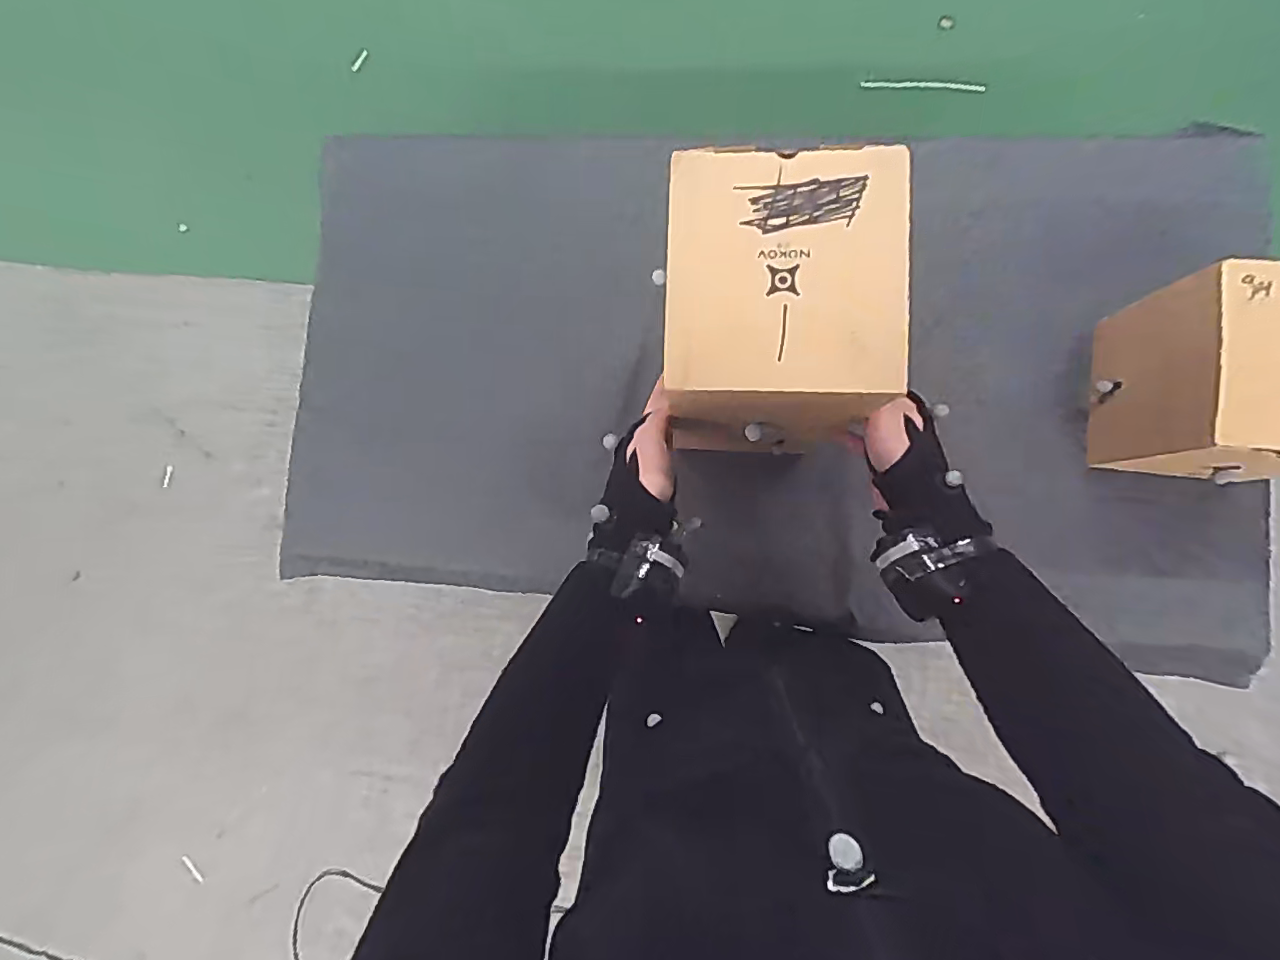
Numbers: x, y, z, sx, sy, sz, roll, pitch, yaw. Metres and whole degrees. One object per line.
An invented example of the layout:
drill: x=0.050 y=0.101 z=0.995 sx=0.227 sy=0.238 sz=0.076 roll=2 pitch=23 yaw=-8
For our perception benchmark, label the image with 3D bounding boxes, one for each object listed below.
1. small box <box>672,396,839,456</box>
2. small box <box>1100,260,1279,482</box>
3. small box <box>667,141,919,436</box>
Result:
small box: x=0.127 y=-0.124 z=0.608 sx=0.168 sy=0.176 sz=0.179 roll=3 pitch=83 yaw=6
small box: x=0.608 y=-0.095 z=0.542 sx=0.168 sy=0.176 sz=0.179 roll=6 pitch=85 yaw=8
small box: x=0.111 y=-0.139 z=0.445 sx=0.168 sy=0.176 sz=0.179 roll=2 pitch=85 yaw=7
